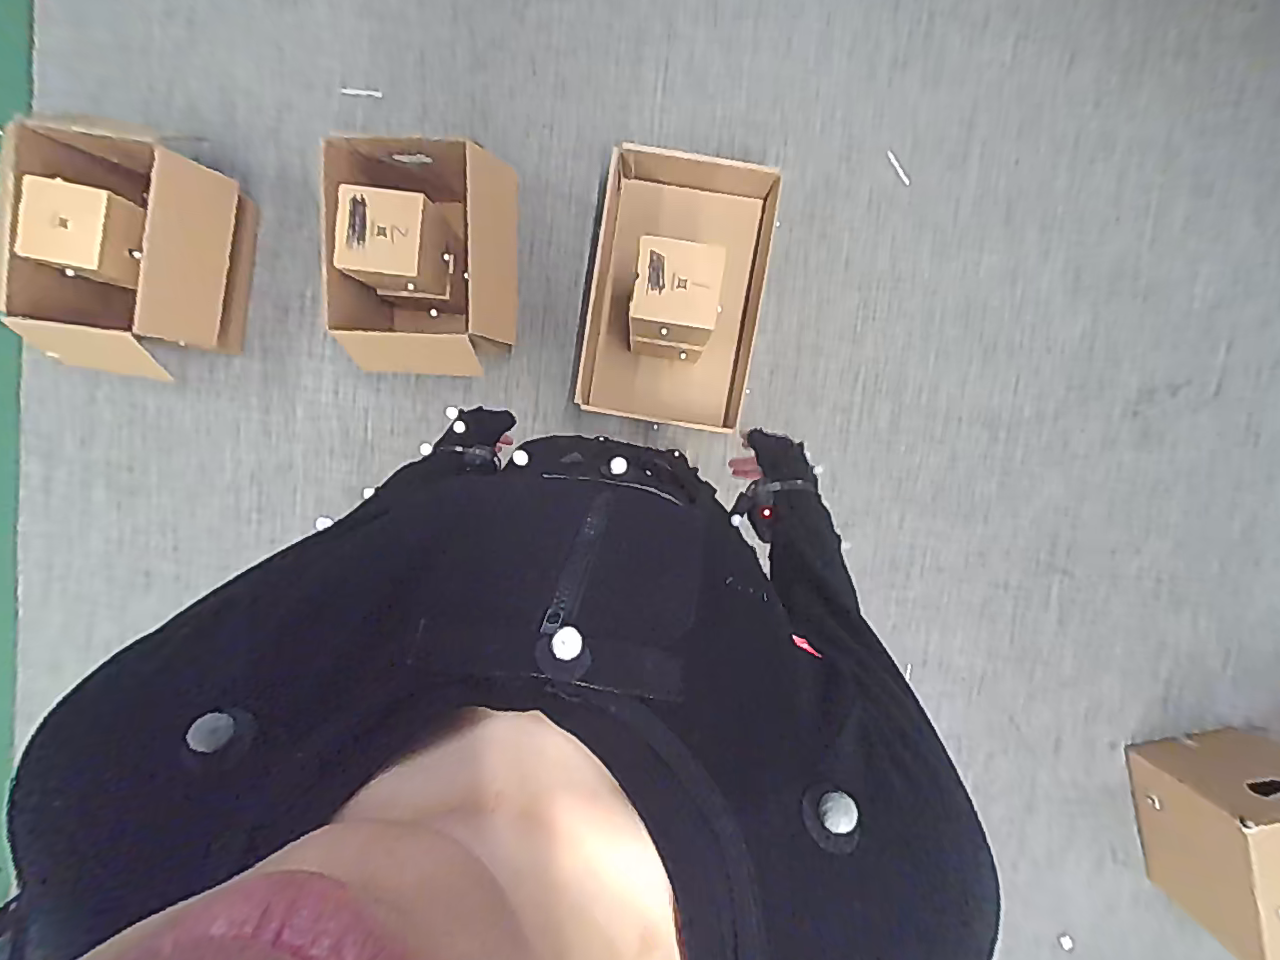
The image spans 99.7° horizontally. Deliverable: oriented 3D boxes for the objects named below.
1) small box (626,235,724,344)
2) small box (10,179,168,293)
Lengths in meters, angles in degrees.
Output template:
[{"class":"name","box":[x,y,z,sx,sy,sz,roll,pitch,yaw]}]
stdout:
[{"class":"small box","box":[0.069,-0.397,1.155,0.179,0.176,0.168,8,92,-2]},{"class":"small box","box":[-1.194,-0.523,1.185,0.179,0.176,0.168,10,93,-1]}]
